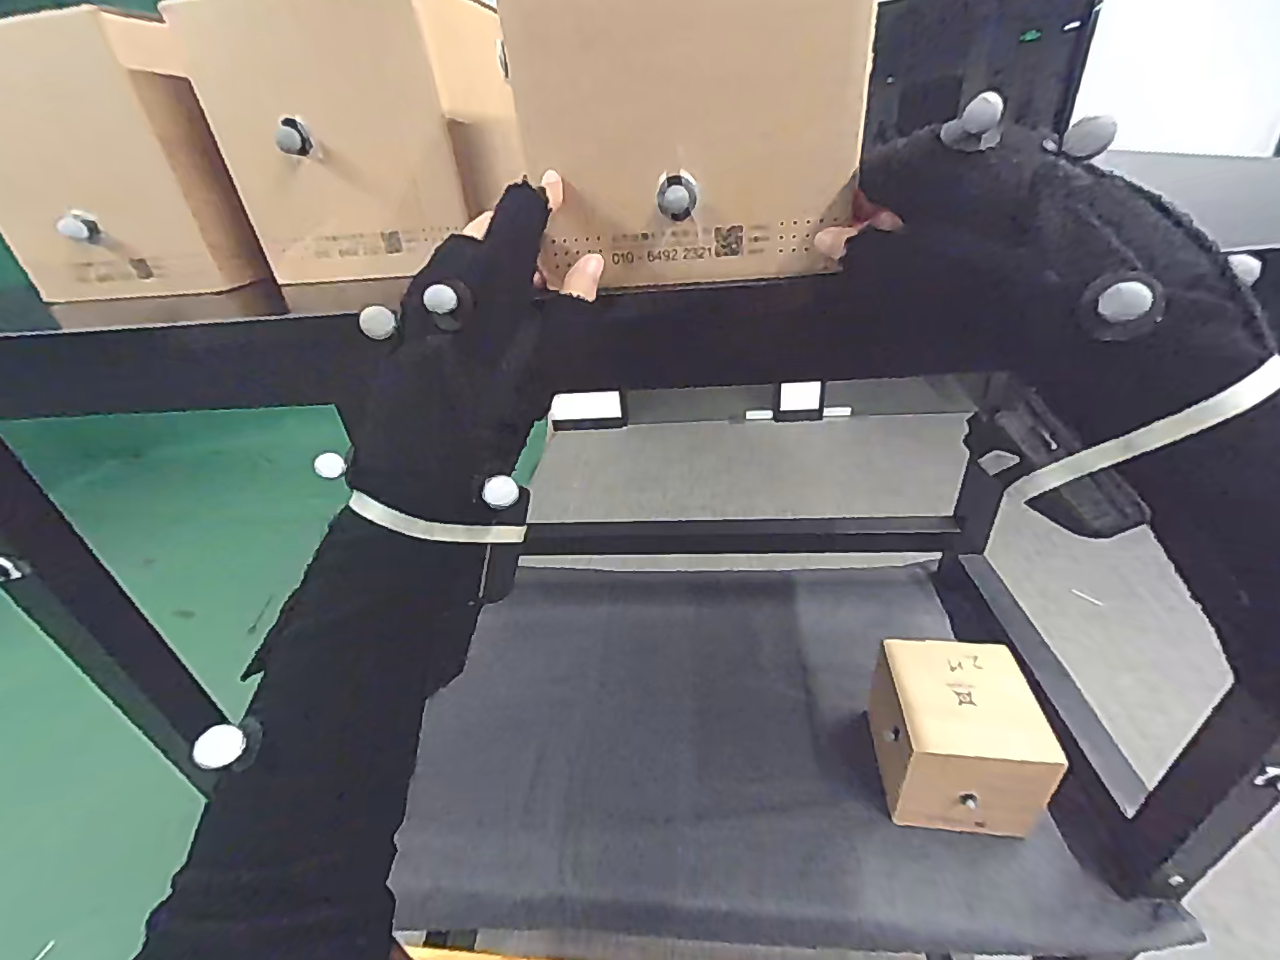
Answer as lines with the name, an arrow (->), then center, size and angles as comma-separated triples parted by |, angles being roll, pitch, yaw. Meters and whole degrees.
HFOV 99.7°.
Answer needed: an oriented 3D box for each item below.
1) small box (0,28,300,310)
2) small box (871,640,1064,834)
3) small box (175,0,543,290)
small box -> -0.383, -0.248, 0.451 | 0.168, 0.176, 0.179 | -1, 33, 9
small box -> 0.424, 0.346, 0.737 | 0.168, 0.176, 0.179 | 1, 32, 10
small box -> -0.188, -0.253, 0.430 | 0.168, 0.176, 0.179 | 0, 32, 10
